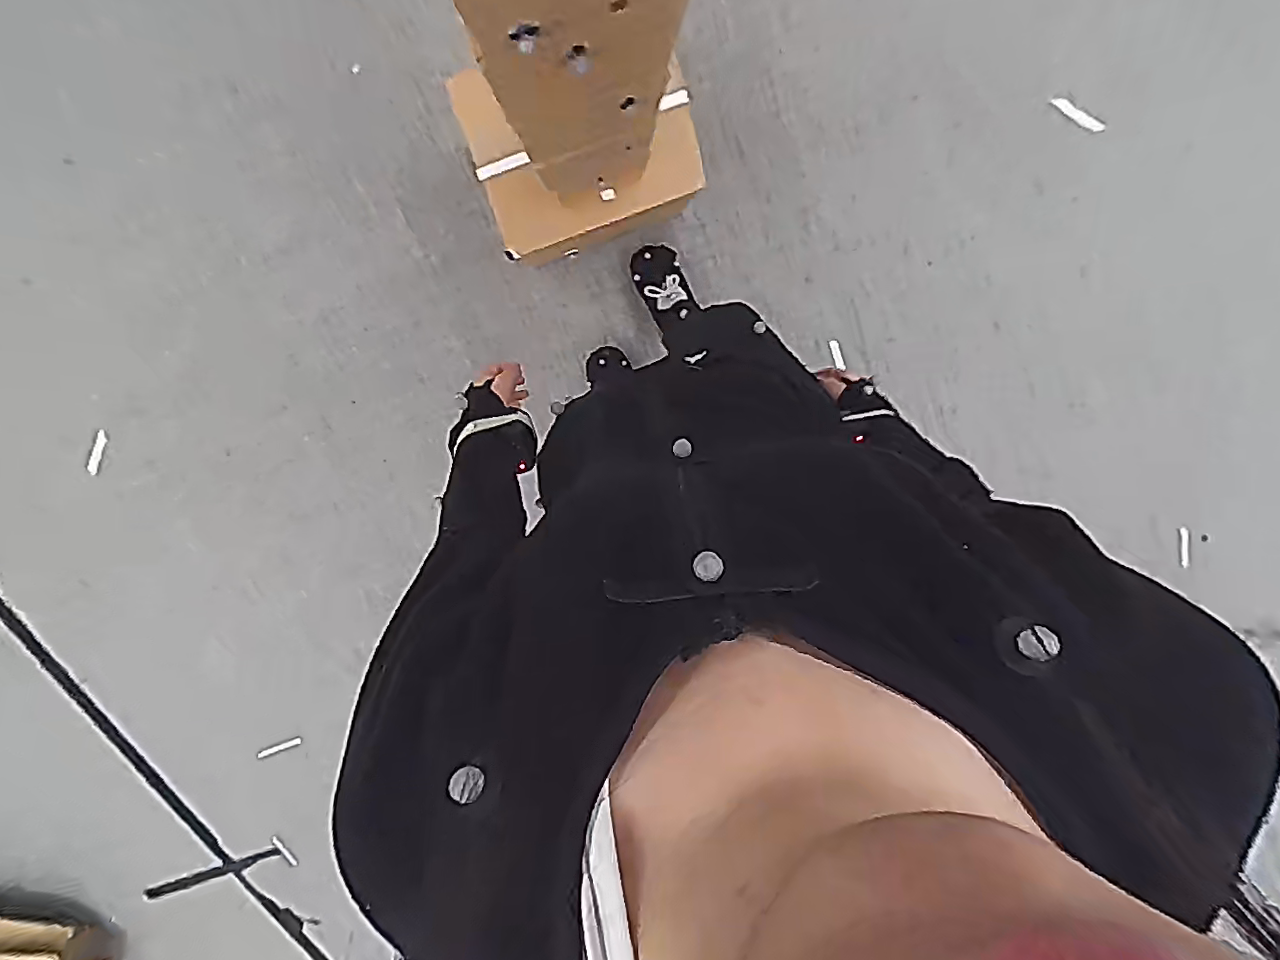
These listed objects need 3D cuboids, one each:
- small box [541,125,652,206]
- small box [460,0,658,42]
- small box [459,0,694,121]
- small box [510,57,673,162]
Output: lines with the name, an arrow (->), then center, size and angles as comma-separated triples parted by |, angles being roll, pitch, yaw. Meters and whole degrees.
small box -> -0.092, -0.591, 0.923 | 0.179, 0.176, 0.168 | -21, 109, 3
small box -> -0.056, -0.388, 0.301 | 0.168, 0.176, 0.179 | -17, 108, 3
small box -> -0.067, -0.439, 0.457 | 0.179, 0.176, 0.168 | -17, 109, 3
small box -> -0.076, -0.489, 0.610 | 0.179, 0.176, 0.168 | -17, 108, 2
